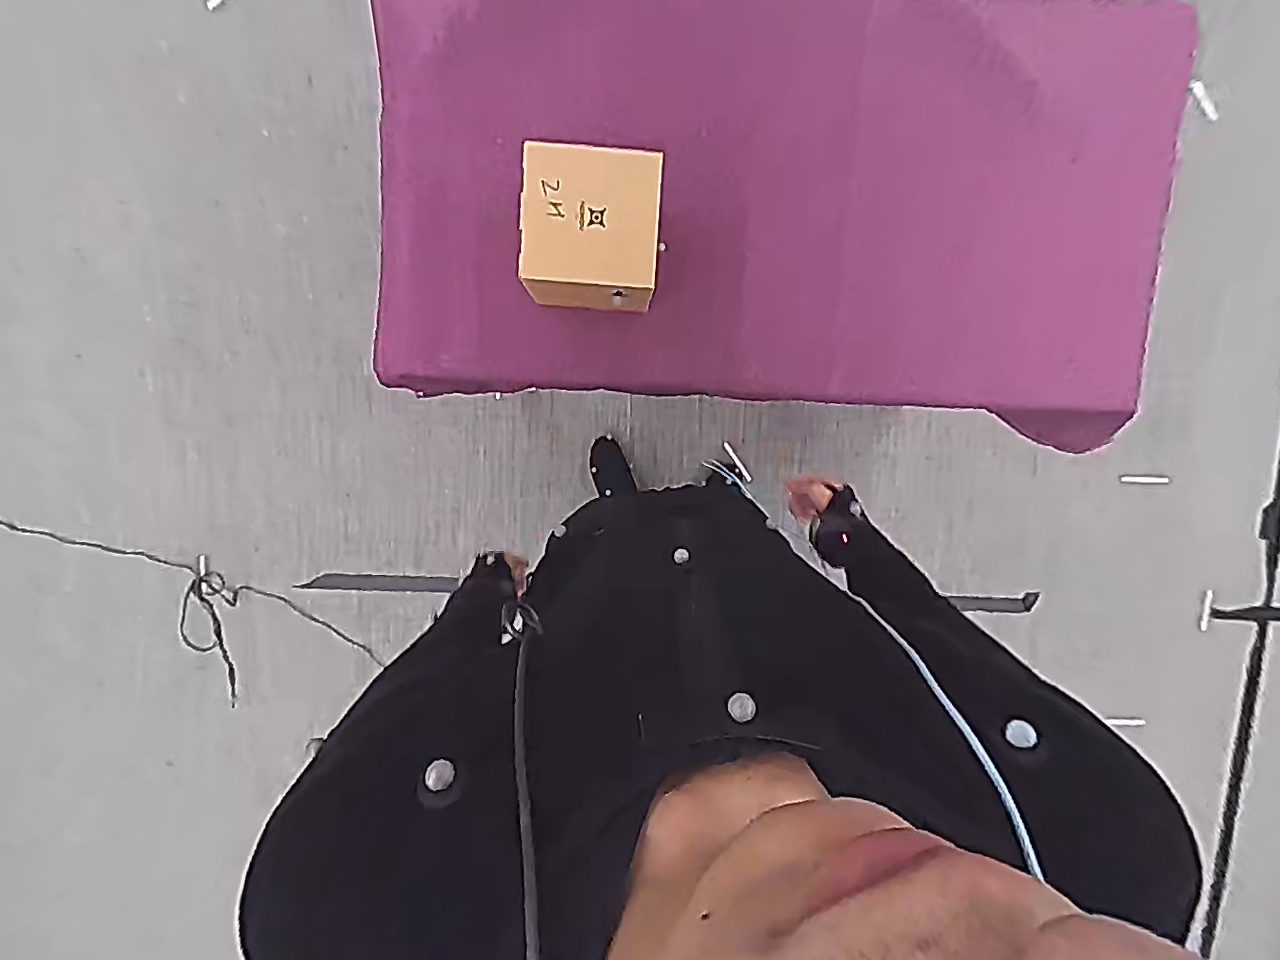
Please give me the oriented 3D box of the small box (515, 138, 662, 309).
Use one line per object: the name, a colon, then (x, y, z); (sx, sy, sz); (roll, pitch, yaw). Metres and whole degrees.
small box: (-0.070, -0.341, 0.753); (0.179, 0.176, 0.168); (4, 97, -3)
